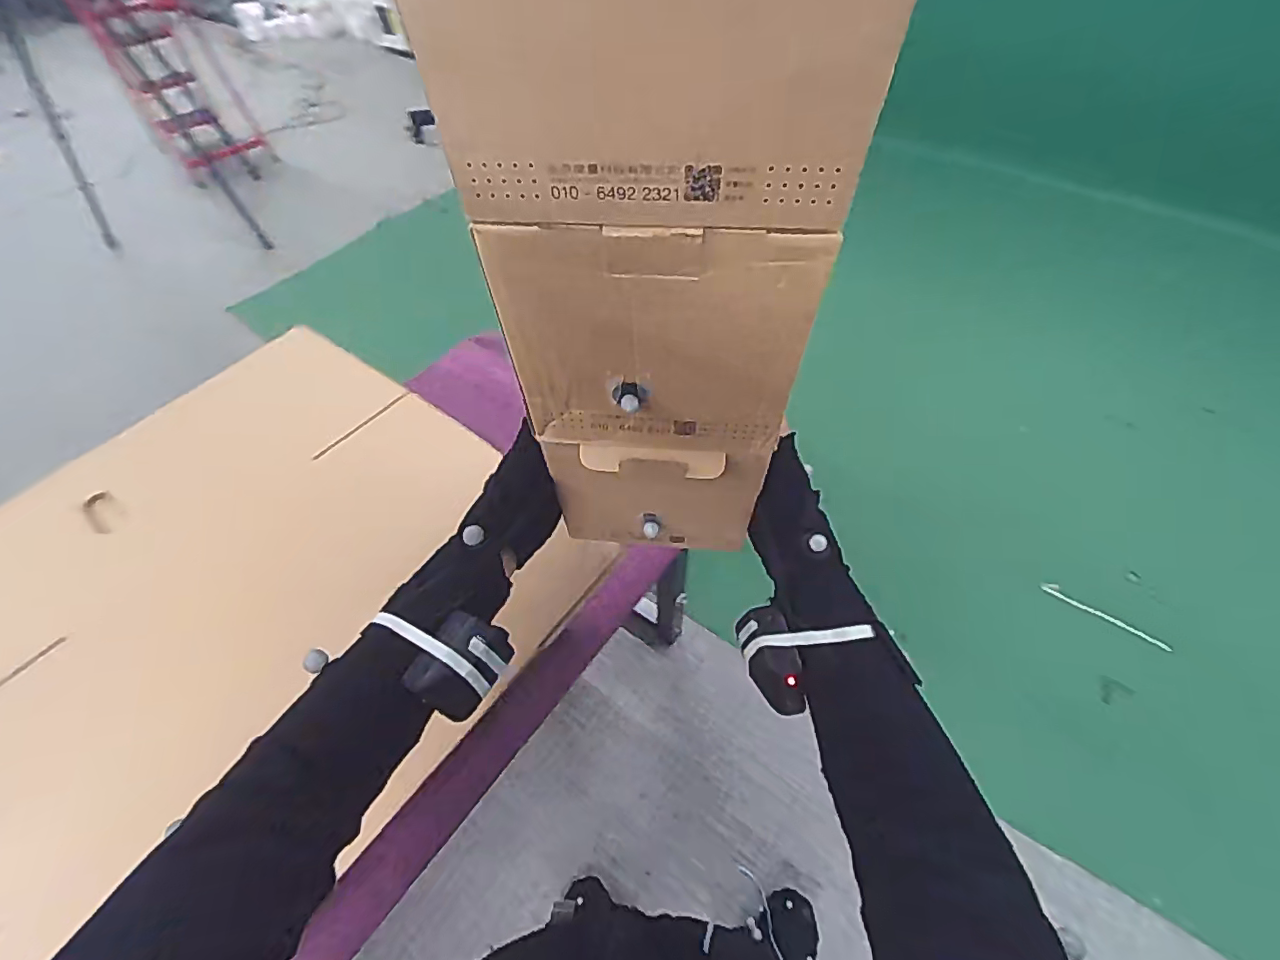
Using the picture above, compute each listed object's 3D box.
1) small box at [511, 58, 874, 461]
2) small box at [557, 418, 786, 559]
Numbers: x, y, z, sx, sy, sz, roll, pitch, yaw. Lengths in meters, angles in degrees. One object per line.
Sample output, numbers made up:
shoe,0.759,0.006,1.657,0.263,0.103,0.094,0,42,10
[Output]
small box,0.029,-0.134,0.350,0.168,0.176,0.179,4,59,3
small box,0.032,-0.049,0.489,0.168,0.176,0.179,6,59,5
